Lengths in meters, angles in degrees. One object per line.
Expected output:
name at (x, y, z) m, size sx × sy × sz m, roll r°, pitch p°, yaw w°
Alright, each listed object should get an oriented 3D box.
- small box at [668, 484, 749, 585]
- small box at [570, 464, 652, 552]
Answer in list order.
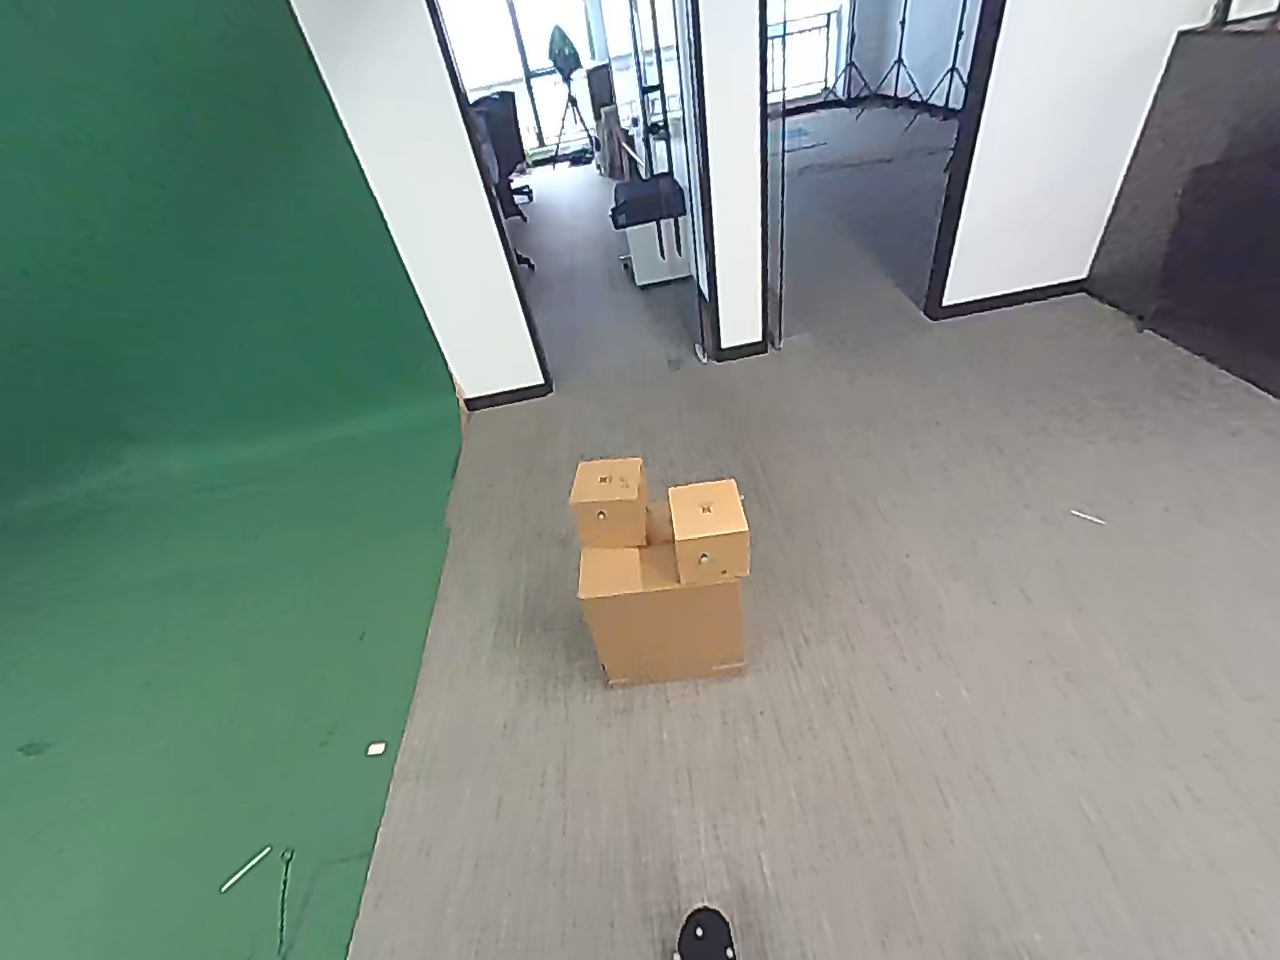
small box at (0.166, 0.137, 1.304) m, size 0.168 × 0.176 × 0.179 m, roll -9°, pitch 40°, yaw 3°
small box at (-0.071, 0.078, 1.433) m, size 0.179 × 0.176 × 0.168 m, roll -4°, pitch 40°, yaw 9°
